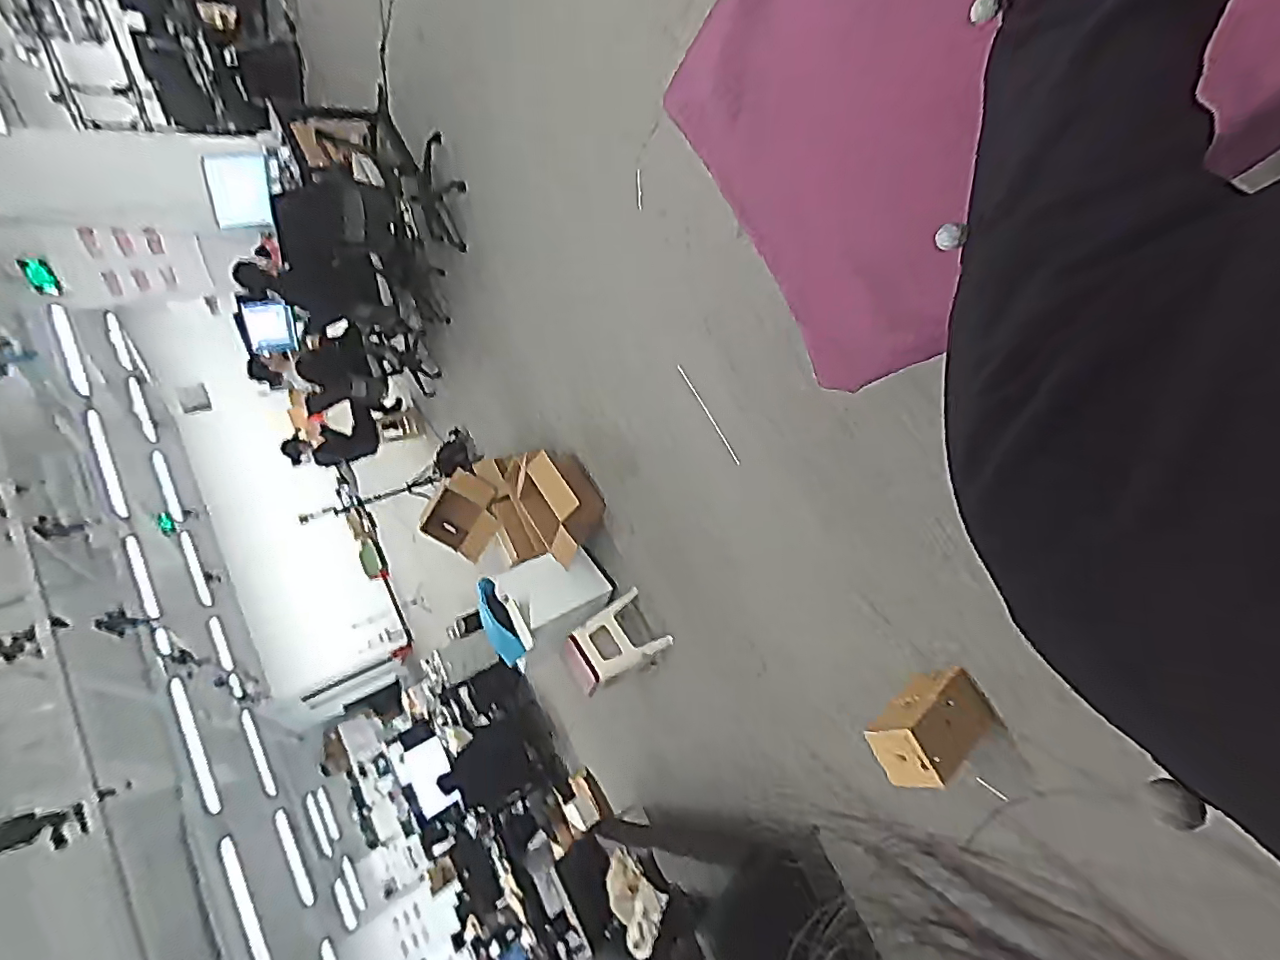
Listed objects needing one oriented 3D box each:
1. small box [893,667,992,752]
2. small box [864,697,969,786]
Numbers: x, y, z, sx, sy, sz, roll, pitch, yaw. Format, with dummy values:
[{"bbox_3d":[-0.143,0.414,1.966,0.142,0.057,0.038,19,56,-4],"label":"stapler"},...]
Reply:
[{"bbox_3d":[0.924,0.699,1.647,0.179,0.176,0.168,61,146,12],"label":"small box"},{"bbox_3d":[0.796,0.748,1.556,0.168,0.176,0.179,61,146,12],"label":"small box"}]
